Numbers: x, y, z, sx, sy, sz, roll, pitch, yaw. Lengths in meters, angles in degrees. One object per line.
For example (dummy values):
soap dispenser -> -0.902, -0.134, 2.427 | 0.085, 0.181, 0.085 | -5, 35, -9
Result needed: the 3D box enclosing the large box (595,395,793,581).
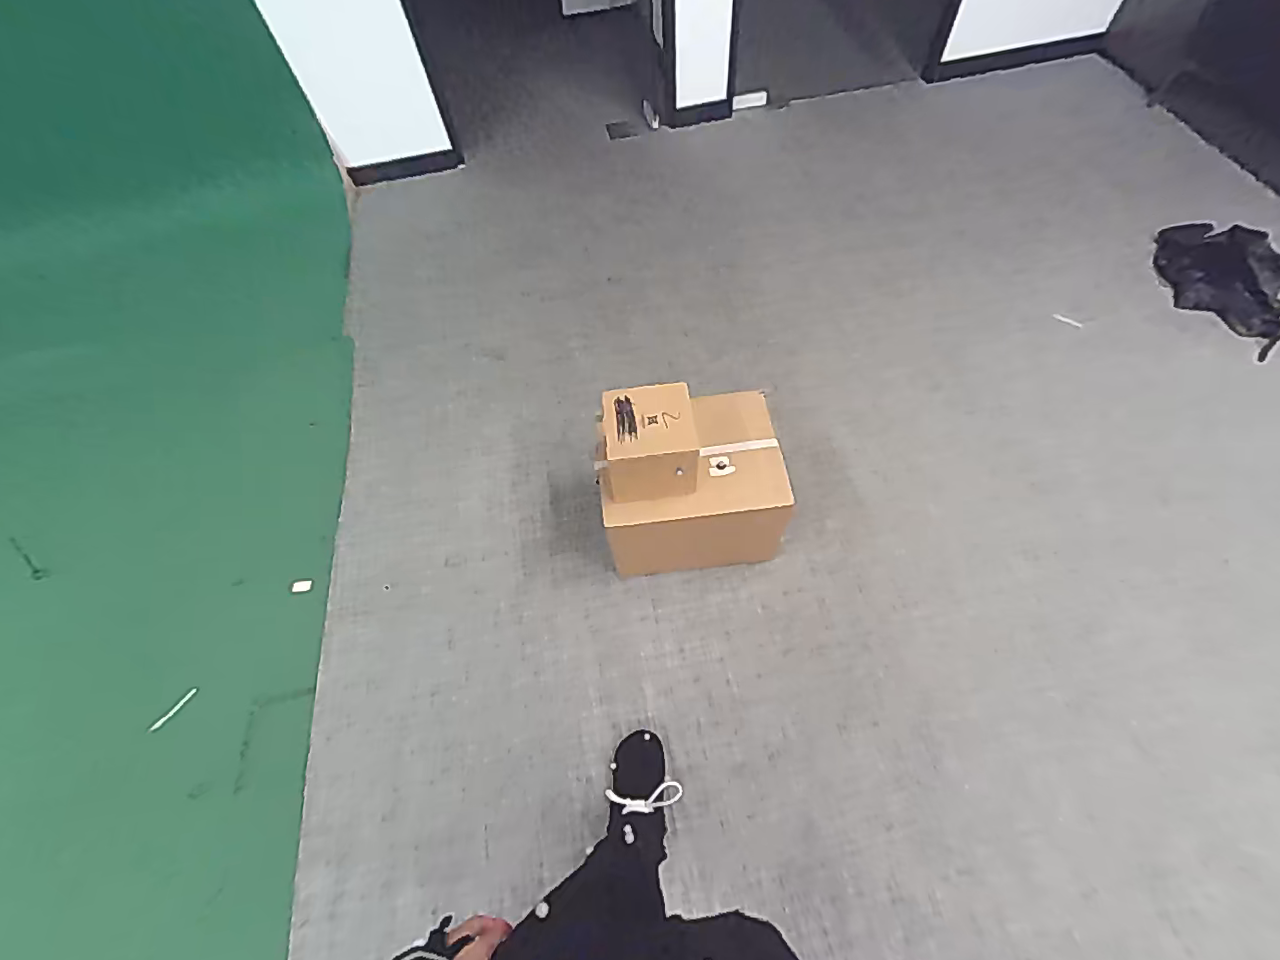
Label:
large box -> 0.113, 0.030, 1.326 | 0.408, 0.320, 0.320 | -7, 60, -1
